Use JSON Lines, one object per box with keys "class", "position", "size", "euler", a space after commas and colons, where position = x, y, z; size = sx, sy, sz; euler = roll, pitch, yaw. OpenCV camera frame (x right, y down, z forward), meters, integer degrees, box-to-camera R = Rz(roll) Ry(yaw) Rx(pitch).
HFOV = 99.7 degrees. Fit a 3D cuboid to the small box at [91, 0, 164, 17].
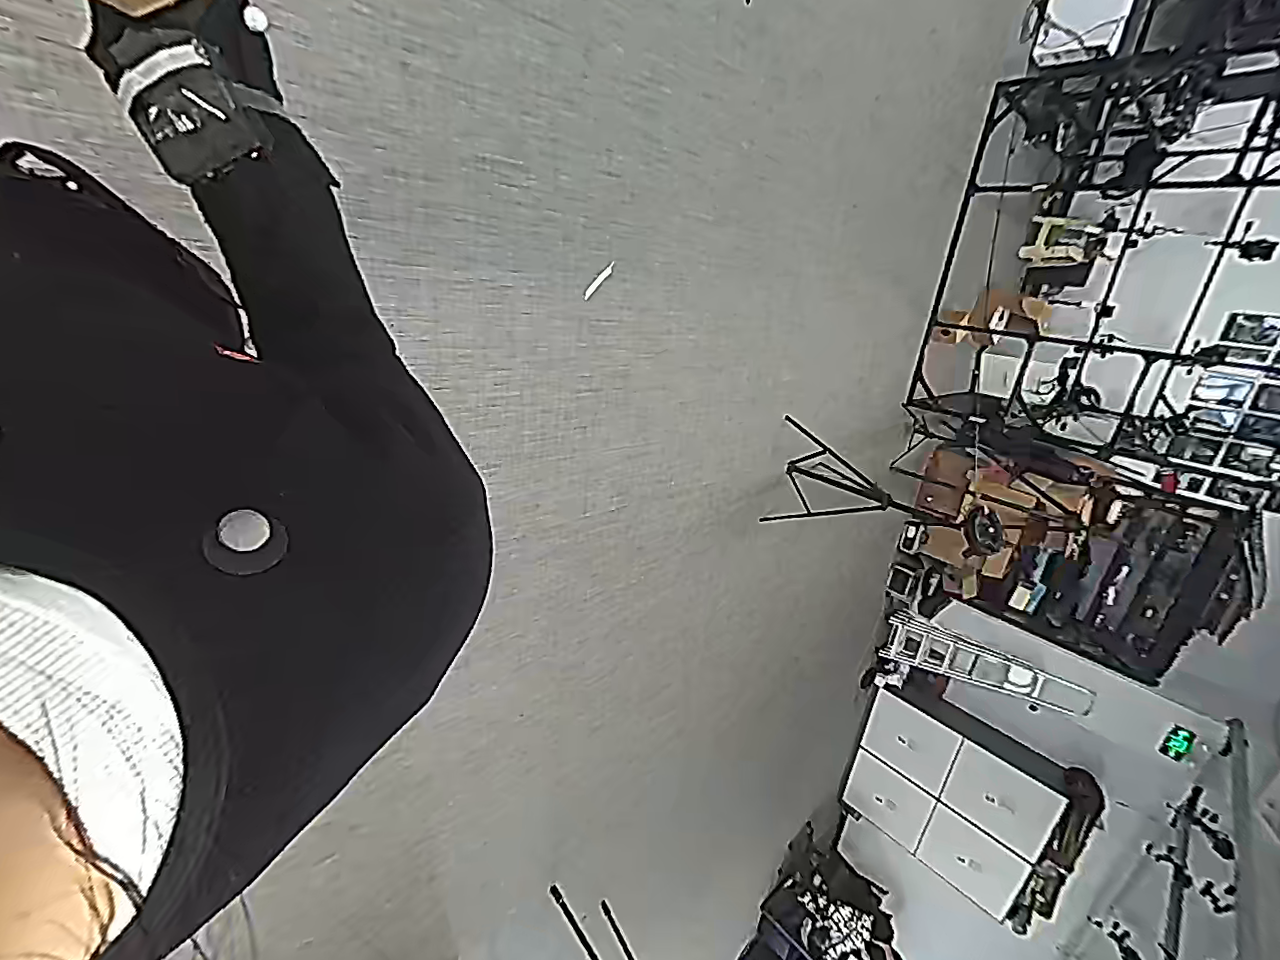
{"class": "small box", "position": [-0.239, -0.297, 0.160], "size": [0.176, 0.168, 0.179], "euler": [5, 110, -52]}
